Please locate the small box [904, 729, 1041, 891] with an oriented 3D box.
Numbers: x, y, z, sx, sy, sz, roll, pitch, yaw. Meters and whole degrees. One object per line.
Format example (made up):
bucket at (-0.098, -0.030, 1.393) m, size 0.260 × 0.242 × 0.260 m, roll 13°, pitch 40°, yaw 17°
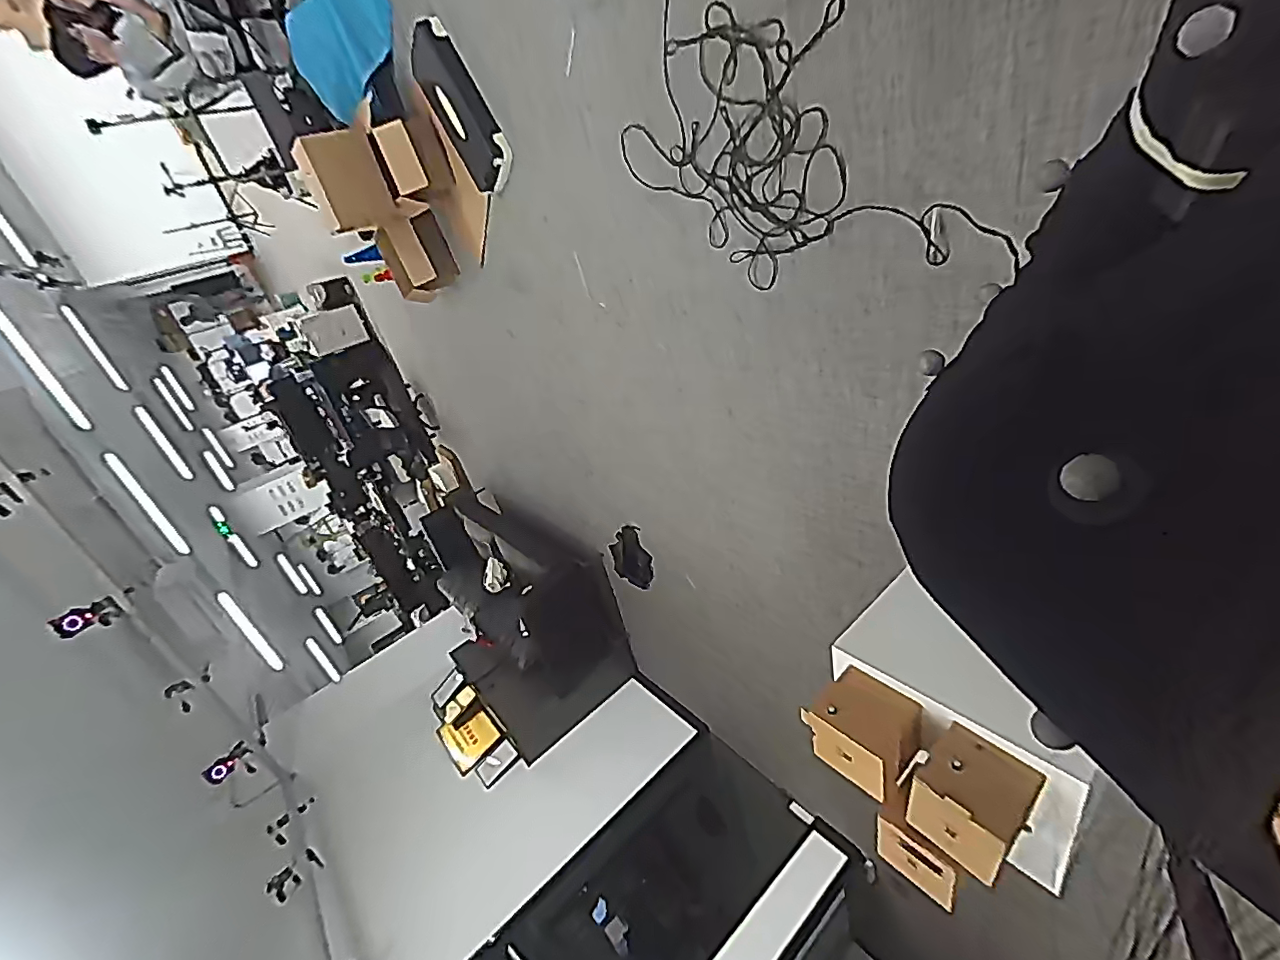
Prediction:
small box at (0.642, 0.629, 1.049) m, size 0.168 × 0.176 × 0.179 m, roll 28°, pitch 141°, yaw 46°
